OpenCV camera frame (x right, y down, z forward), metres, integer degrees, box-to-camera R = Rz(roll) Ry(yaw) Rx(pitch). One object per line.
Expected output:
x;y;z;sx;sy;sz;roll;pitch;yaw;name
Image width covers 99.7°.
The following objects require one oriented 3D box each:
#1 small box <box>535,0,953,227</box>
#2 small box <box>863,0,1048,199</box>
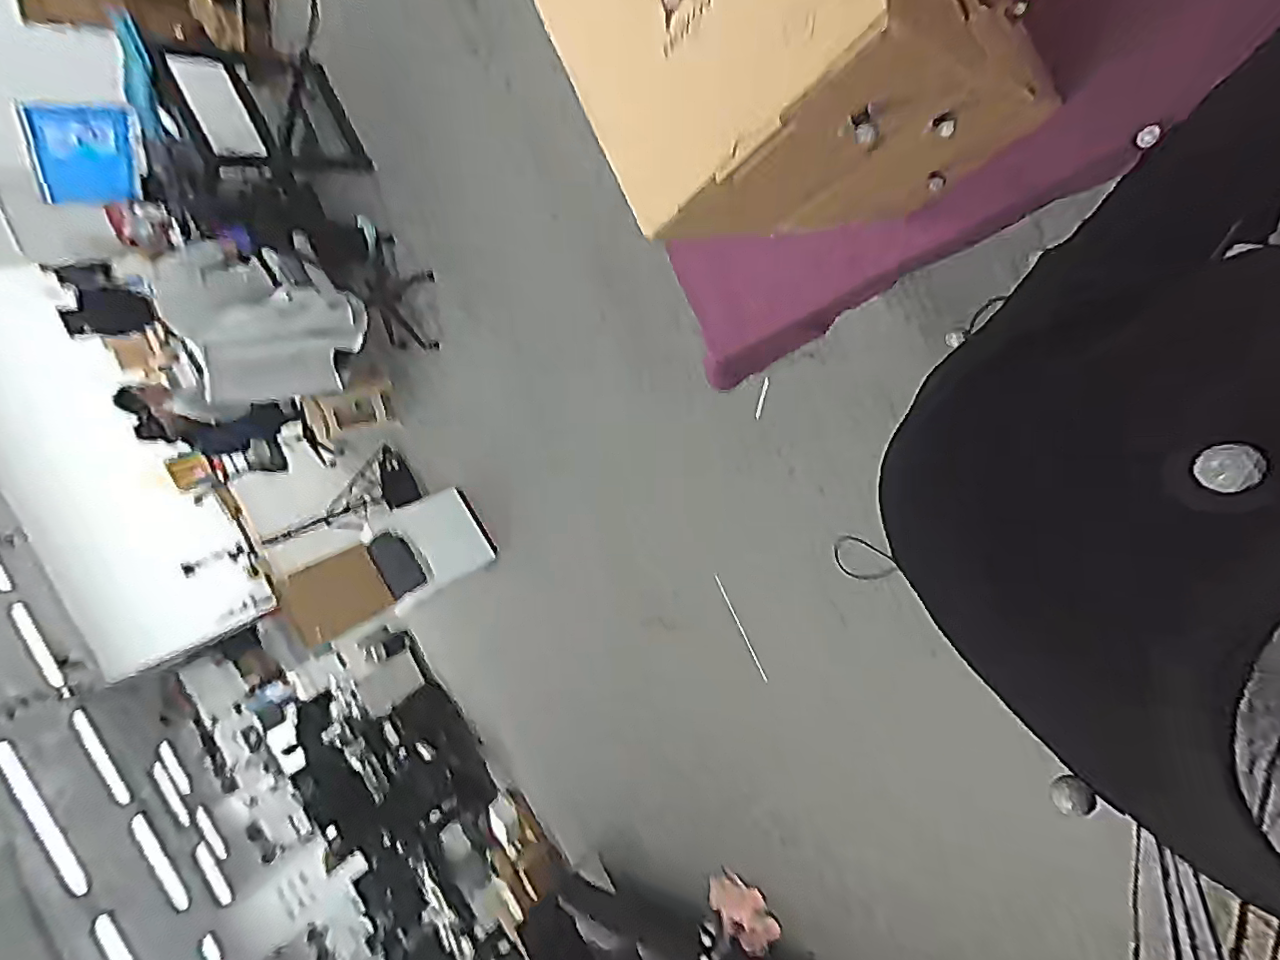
0.067;-0.291;0.343;0.168;0.176;0.179;-22;94;47;small box
0.279;-0.414;0.558;0.179;0.176;0.168;-26;93;48;small box
